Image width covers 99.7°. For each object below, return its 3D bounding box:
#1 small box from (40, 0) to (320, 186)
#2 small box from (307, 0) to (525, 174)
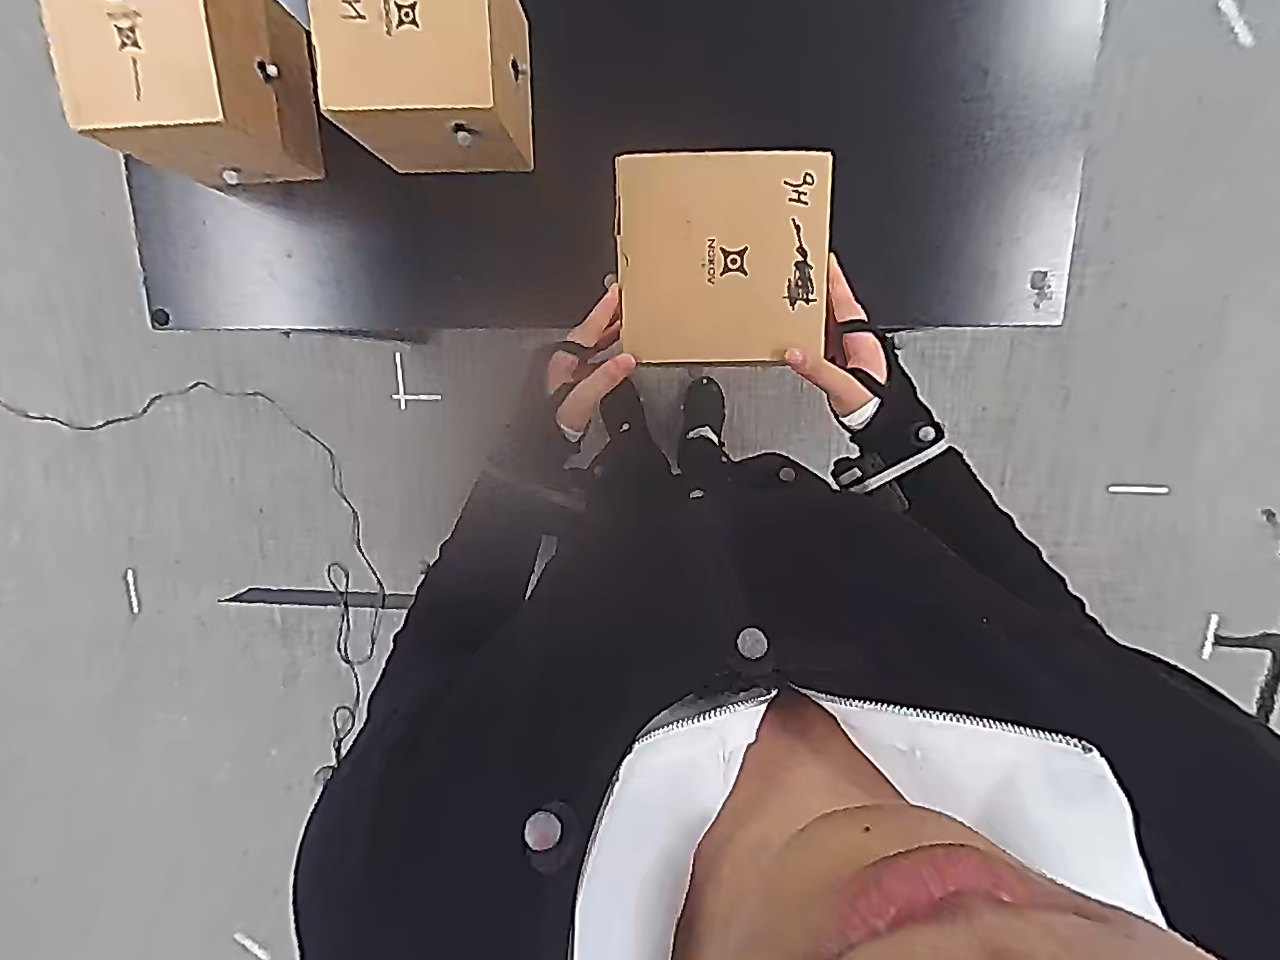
[{"bbox_3d":[-0.495,-0.454,0.606,0.168,0.176,0.179,-2,102,3],"label":"small box"},{"bbox_3d":[-0.228,-0.455,0.594,0.179,0.176,0.168,0,101,2],"label":"small box"}]
